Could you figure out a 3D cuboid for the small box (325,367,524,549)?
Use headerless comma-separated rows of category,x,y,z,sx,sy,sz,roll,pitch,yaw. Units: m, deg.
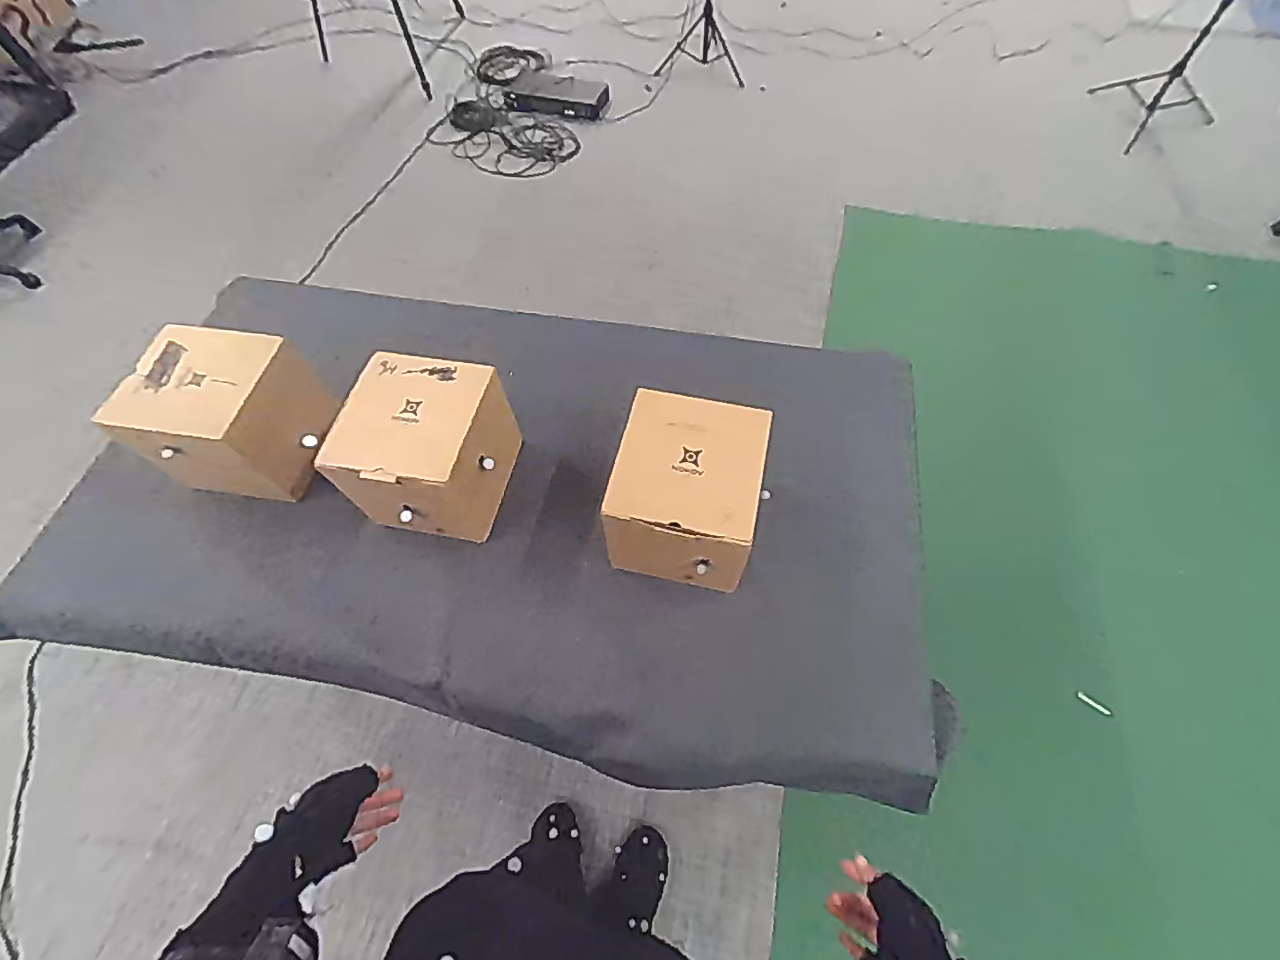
small box,-0.270,-0.023,0.728,0.168,0.176,0.179,9,61,7

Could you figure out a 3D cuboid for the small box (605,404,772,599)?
small box,0.061,0.033,0.684,0.168,0.176,0.179,11,60,7

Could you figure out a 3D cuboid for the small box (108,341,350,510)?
small box,-0.557,-0.071,0.764,0.179,0.176,0.168,7,61,5
